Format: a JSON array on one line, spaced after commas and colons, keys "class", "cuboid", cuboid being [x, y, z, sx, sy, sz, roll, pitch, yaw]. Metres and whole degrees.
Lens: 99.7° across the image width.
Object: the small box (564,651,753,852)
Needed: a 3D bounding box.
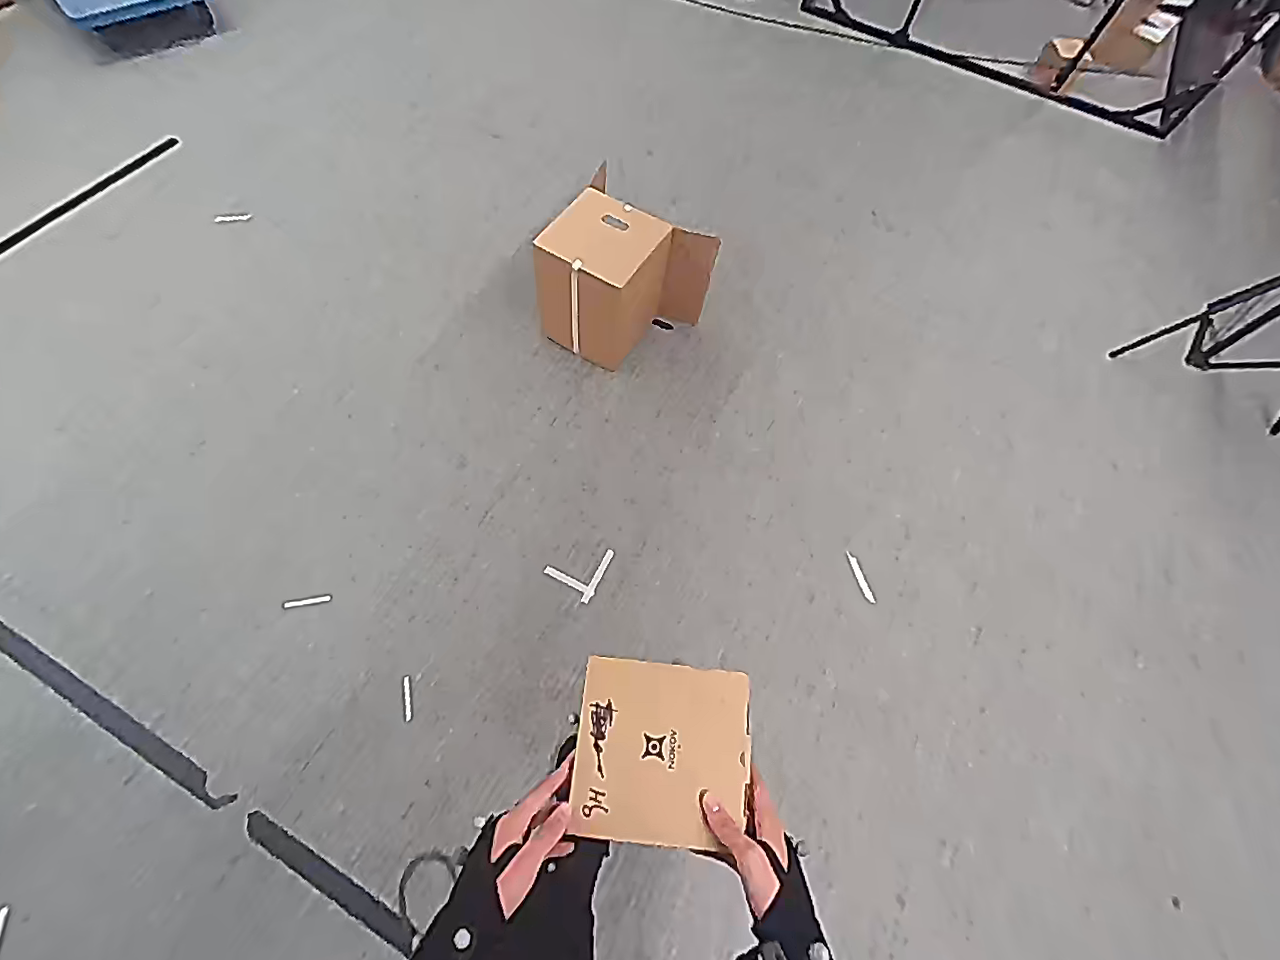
[{"class": "small box", "cuboid": [0.019, 0.296, 0.613, 0.179, 0.176, 0.168, 8, 66, 0]}]
